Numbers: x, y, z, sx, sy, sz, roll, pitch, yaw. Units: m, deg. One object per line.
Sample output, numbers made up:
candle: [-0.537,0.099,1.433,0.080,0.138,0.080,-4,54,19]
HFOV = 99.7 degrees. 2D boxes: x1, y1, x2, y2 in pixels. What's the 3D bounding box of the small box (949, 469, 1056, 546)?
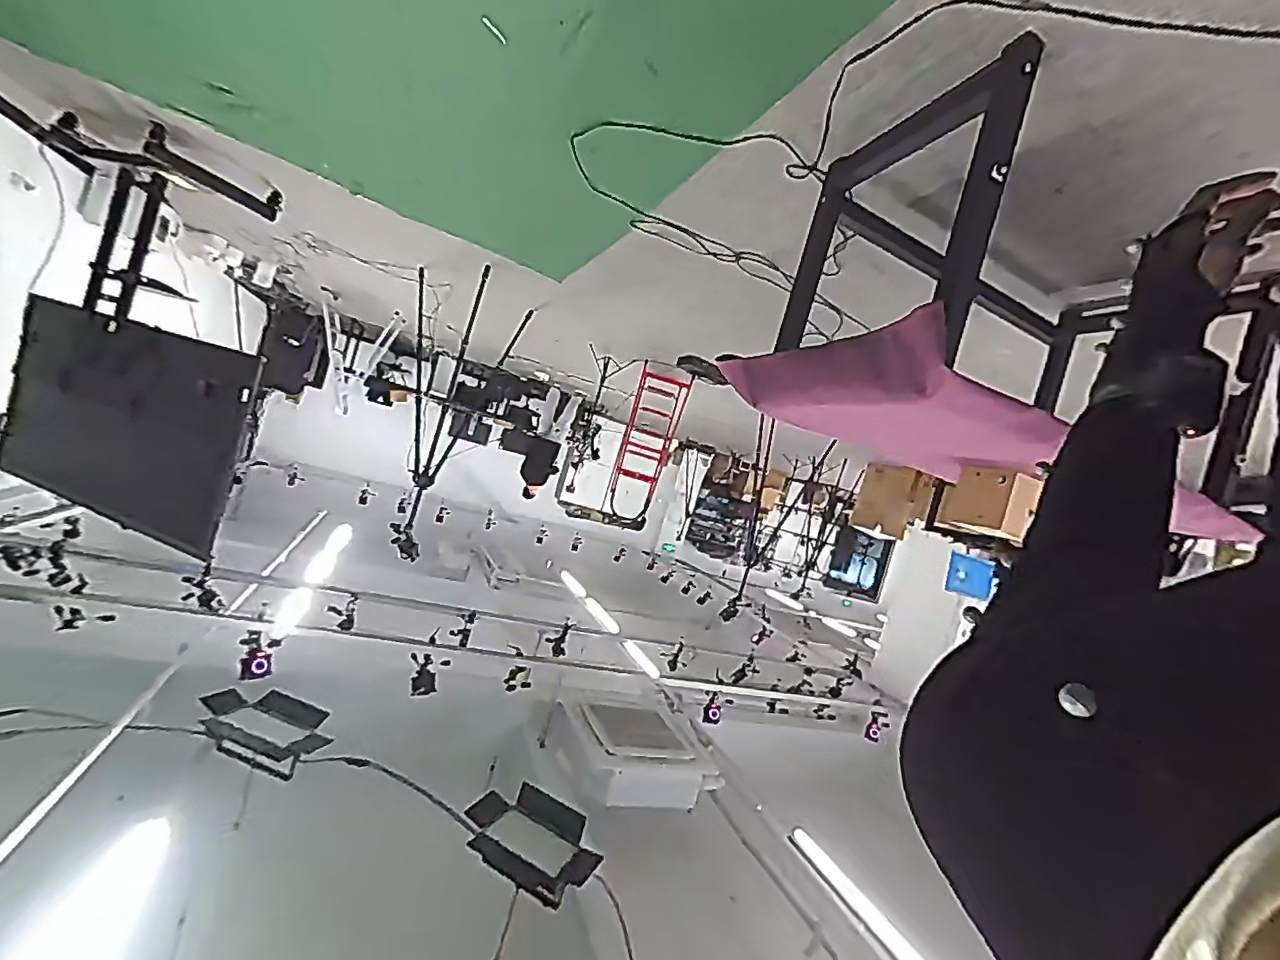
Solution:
small box: [1.015,0.073,1.516,0.179,0.176,0.168,16,180,-21]
